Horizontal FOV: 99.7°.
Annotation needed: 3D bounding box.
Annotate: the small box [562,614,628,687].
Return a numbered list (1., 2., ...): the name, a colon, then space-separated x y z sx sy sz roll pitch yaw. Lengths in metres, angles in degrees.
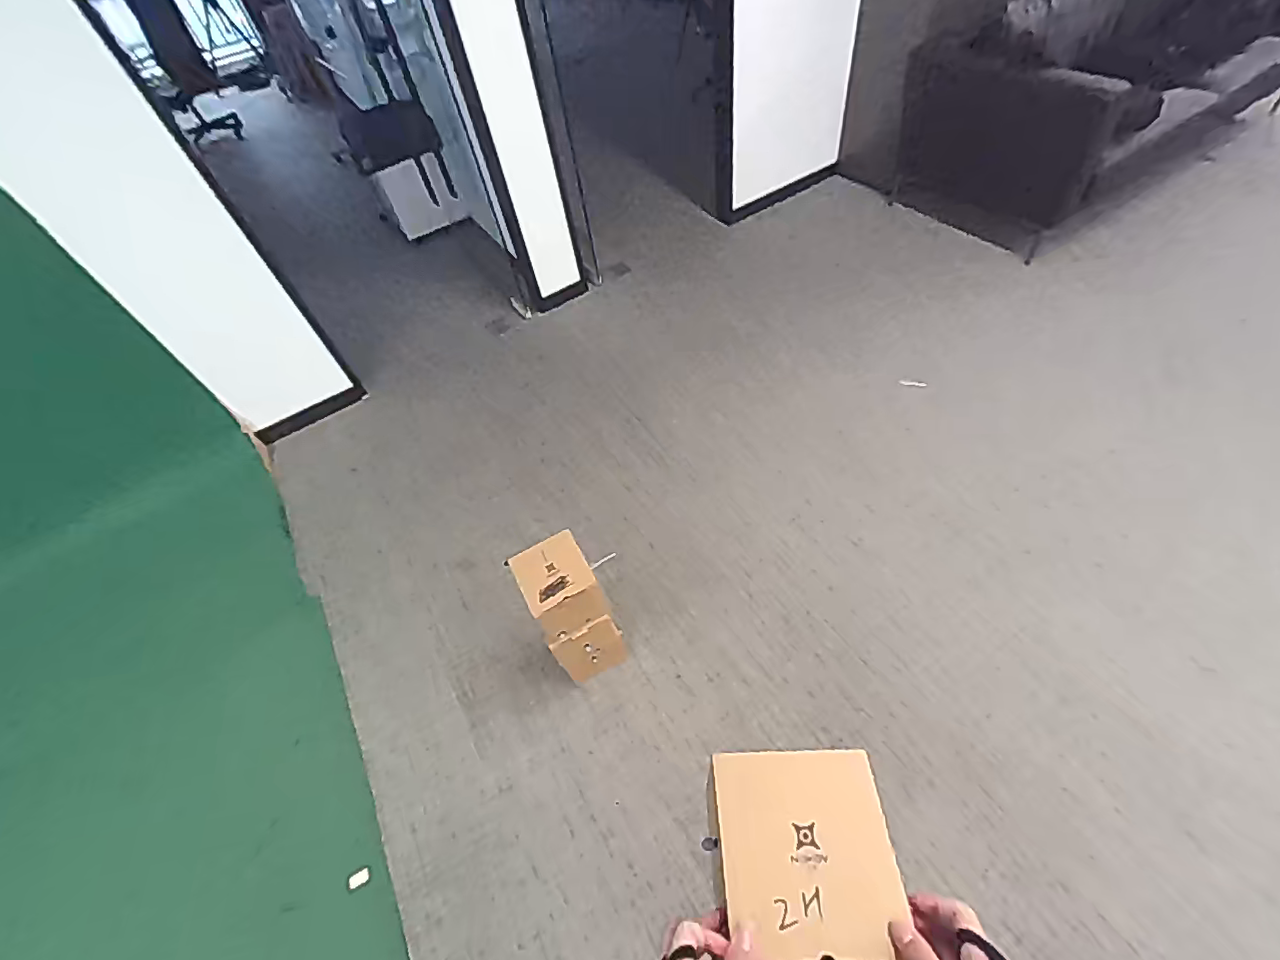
1. small box: -0.151 0.473 1.577 0.179 0.176 0.168 -26 53 -11

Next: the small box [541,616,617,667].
1. small box: -0.175 0.379 1.445 0.168 0.176 0.179 -26 54 -11

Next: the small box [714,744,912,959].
1. small box: 0.165 0.407 0.577 0.168 0.176 0.179 1 48 8

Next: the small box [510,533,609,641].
1. small box: -0.192 0.270 1.323 0.168 0.176 0.179 -27 53 -12
